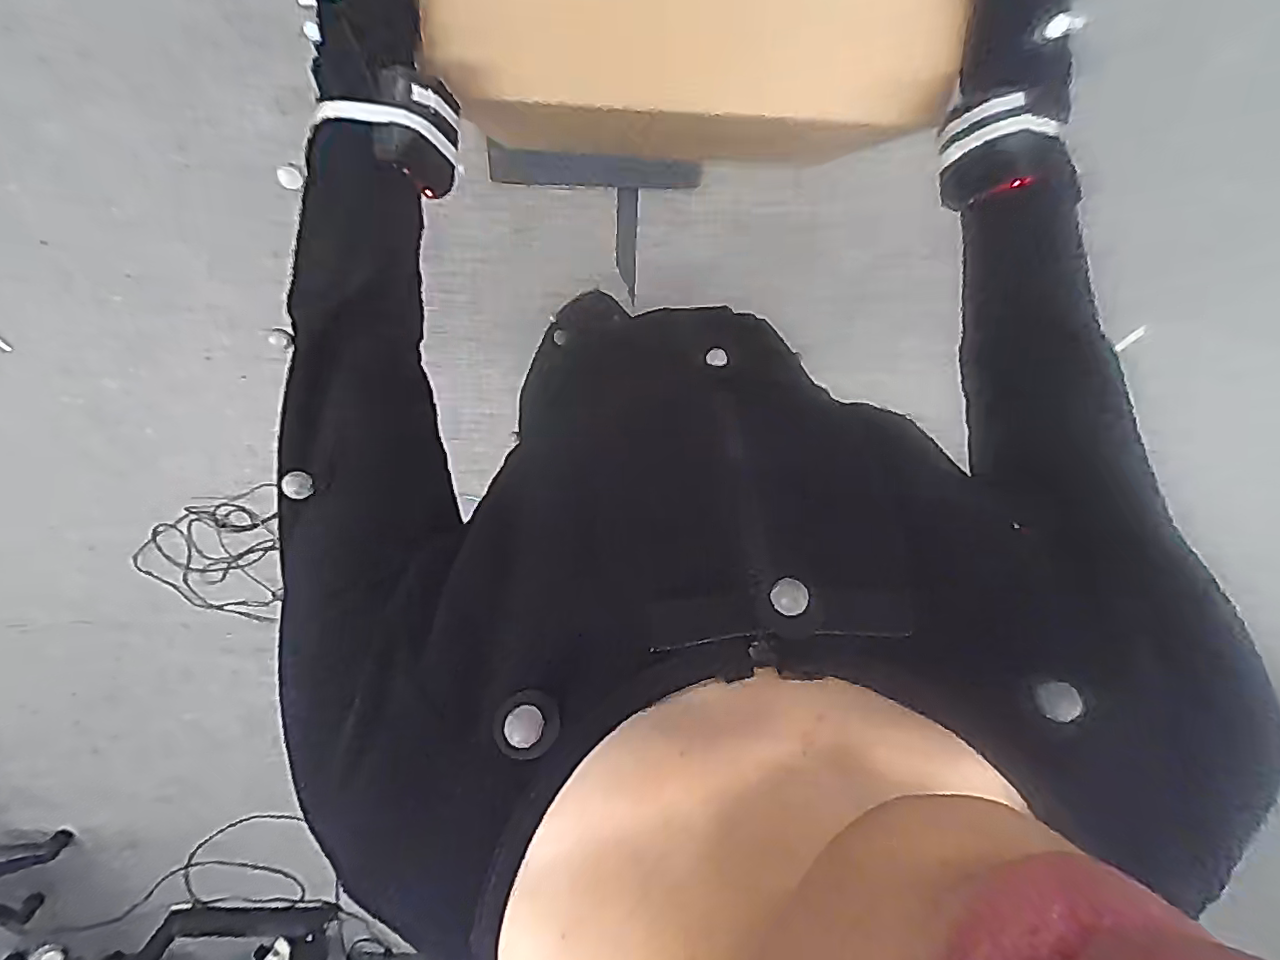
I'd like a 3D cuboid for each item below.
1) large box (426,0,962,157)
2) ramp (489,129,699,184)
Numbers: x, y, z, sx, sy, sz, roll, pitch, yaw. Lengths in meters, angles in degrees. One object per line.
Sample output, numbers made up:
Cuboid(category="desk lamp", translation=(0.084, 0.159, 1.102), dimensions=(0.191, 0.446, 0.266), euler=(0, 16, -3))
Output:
Cuboid(category="large box", translation=(0.037, -0.496, 0.492), dimensions=(0.408, 0.320, 0.320), euler=(1, 115, -4))
Cuboid(category="ramp", translation=(-0.093, -1.147, 1.050), dimensions=(0.509, 0.206, 0.991), euler=(-1, 108, -2))
